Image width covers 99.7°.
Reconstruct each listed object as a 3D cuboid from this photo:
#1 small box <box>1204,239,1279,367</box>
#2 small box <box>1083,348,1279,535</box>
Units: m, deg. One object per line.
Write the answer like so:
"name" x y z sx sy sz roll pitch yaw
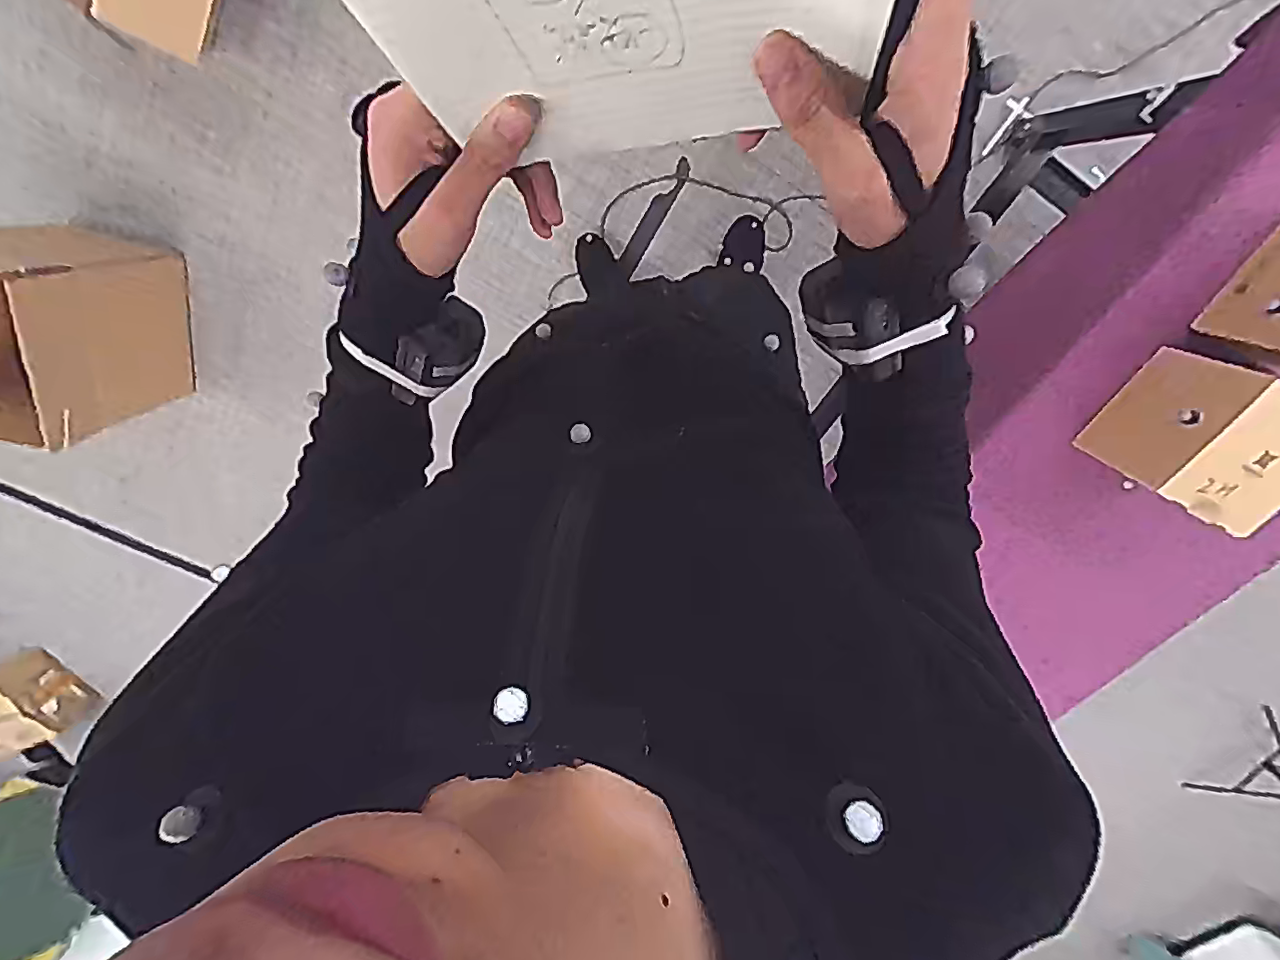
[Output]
"small box" 0.892 -0.219 0.673 0.179 0.176 0.168 21 117 -9
"small box" 0.792 -0.061 0.757 0.168 0.176 0.179 25 116 -10
